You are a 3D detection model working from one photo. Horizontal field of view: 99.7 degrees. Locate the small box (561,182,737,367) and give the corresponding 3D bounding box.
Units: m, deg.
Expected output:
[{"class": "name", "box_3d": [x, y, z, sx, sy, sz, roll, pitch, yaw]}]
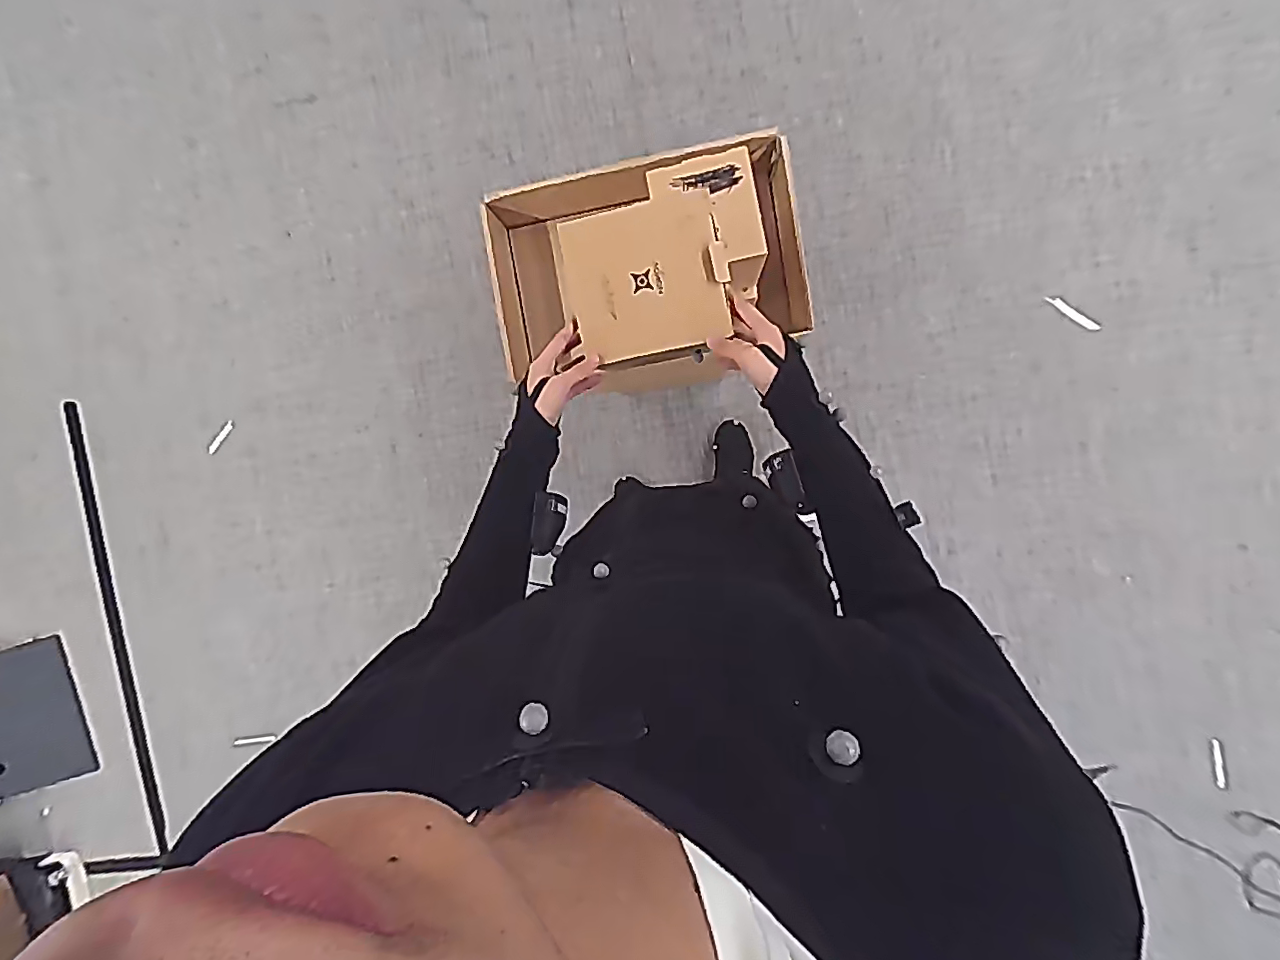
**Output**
[{"class": "small box", "box_3d": [0.017, -0.241, 0.679, 0.179, 0.176, 0.168, -10, 98, 8]}]
